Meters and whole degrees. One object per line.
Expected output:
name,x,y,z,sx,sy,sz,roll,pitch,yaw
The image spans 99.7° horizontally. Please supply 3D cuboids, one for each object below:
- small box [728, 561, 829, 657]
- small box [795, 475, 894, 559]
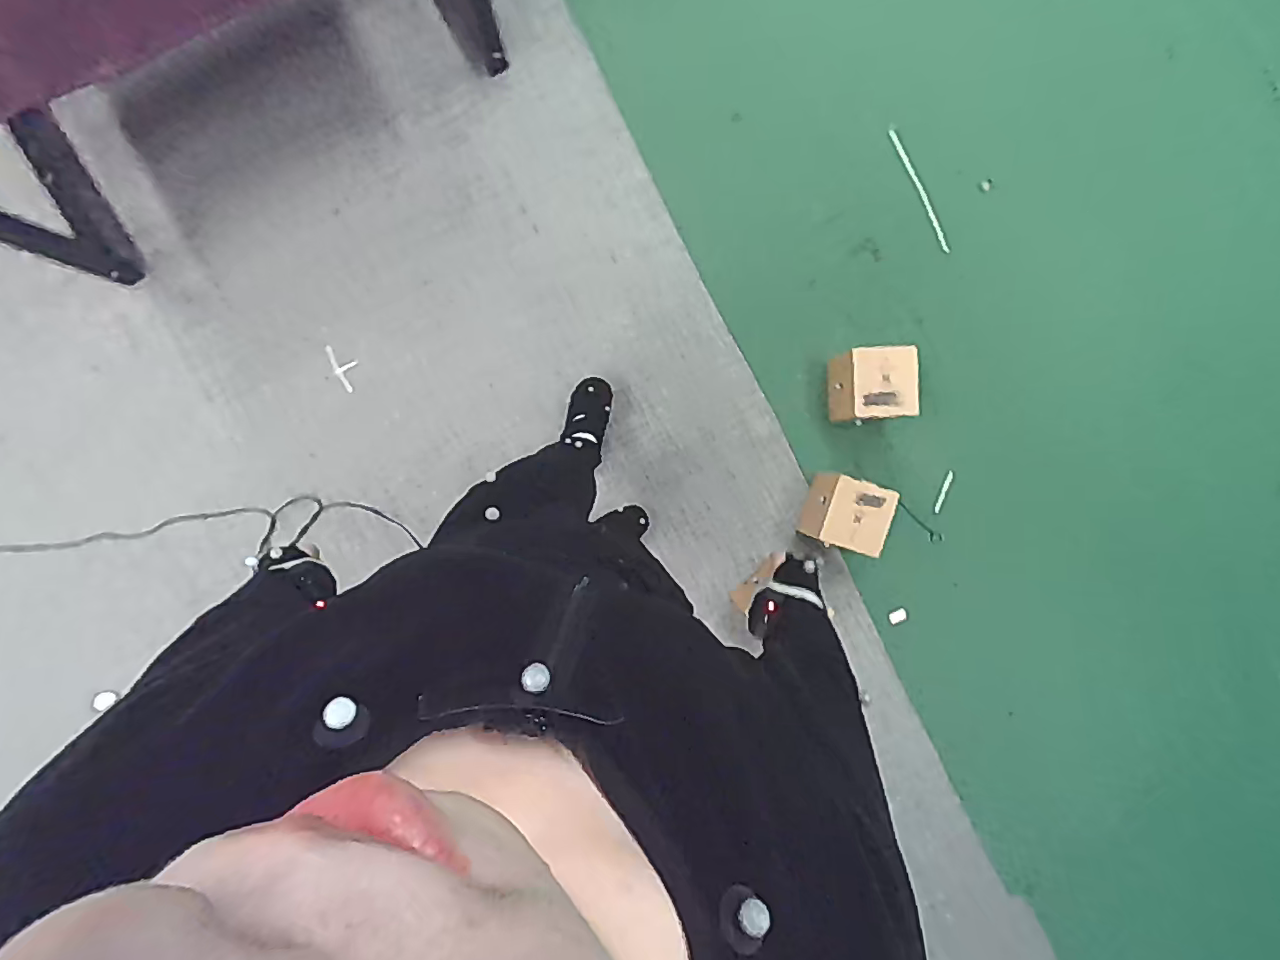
small box,0.361,0.333,1.449,0.168,0.176,0.179,-45,93,0
small box,0.537,0.091,1.447,0.168,0.176,0.179,19,92,-4
